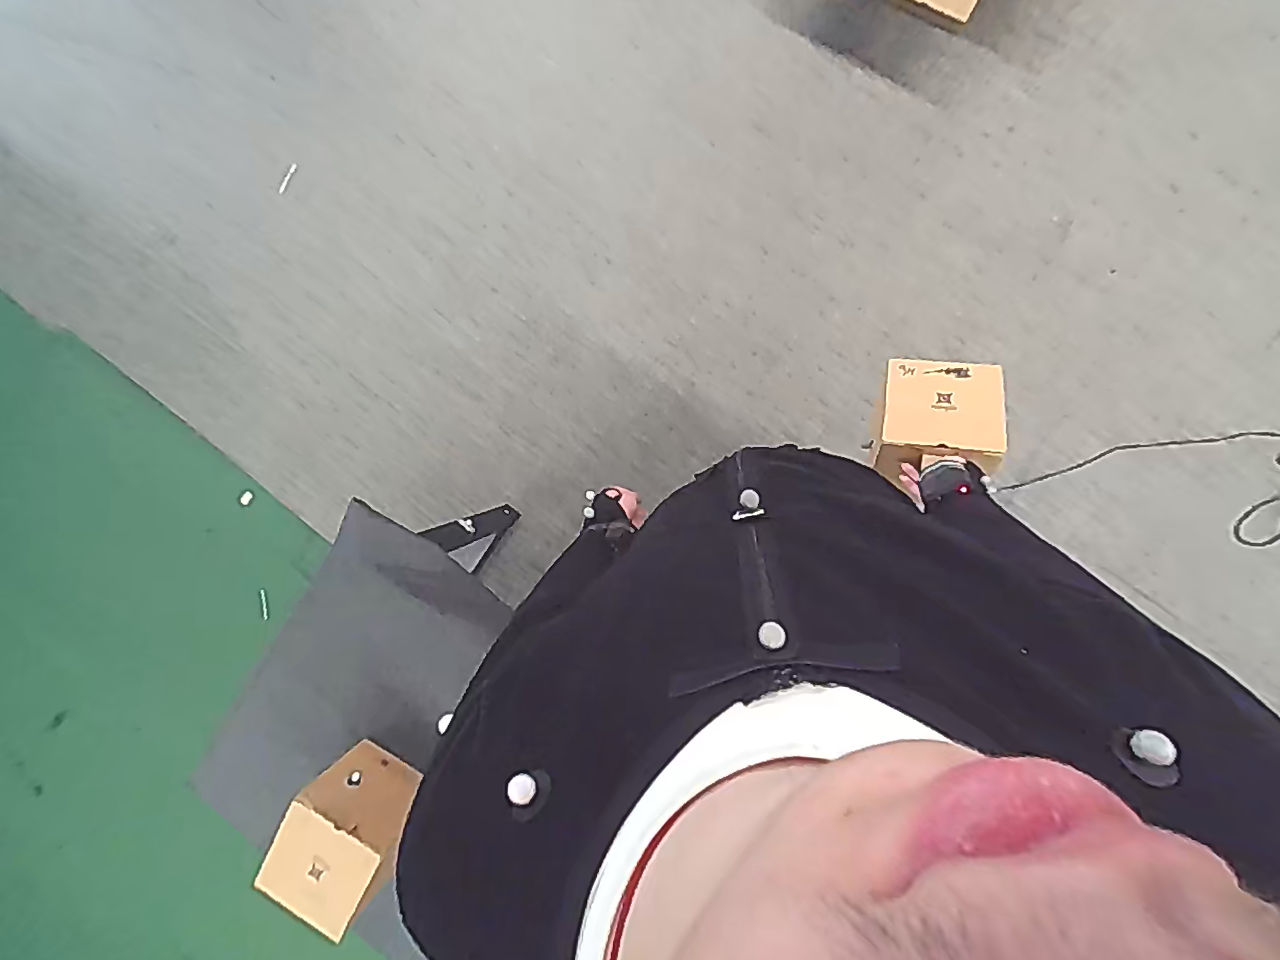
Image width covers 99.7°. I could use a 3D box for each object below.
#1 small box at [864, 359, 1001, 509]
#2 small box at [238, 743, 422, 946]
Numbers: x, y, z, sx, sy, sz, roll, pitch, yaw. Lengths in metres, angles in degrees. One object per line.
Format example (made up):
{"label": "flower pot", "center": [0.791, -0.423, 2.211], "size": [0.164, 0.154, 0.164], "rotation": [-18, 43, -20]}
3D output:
{"label": "small box", "center": [0.471, -0.072, 0.888], "size": [0.168, 0.176, 0.179], "rotation": [9, 59, 18]}
{"label": "small box", "center": [-0.486, 0.572, 0.876], "size": [0.168, 0.176, 0.179], "rotation": [29, 98, 7]}
